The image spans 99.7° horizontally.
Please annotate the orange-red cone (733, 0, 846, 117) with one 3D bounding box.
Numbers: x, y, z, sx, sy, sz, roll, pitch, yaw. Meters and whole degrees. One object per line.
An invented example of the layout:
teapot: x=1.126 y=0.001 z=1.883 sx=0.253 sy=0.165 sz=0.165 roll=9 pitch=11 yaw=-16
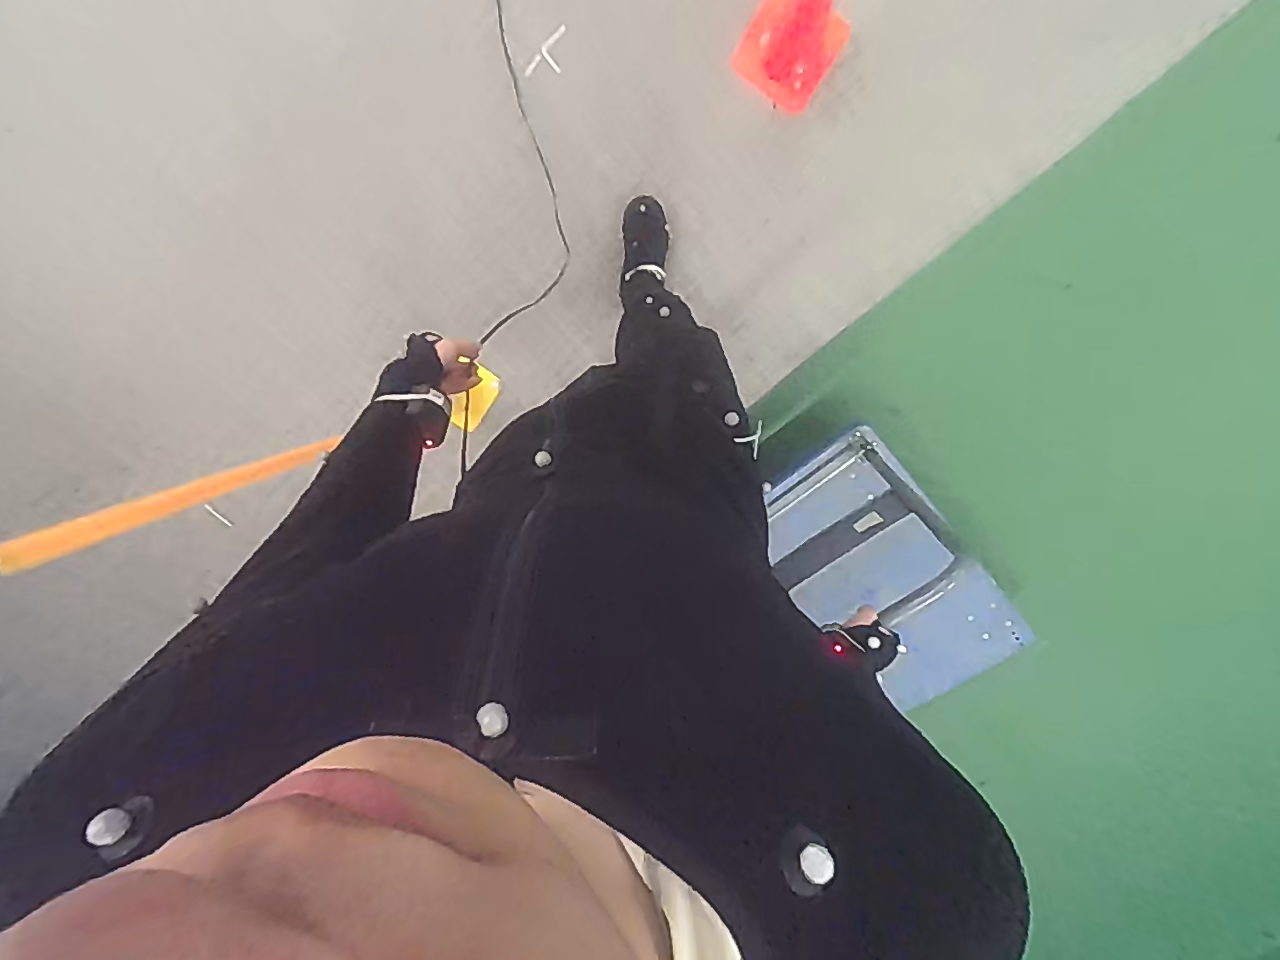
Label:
orange-red cone: x=0.328 y=-0.911 z=1.070 sx=0.198 sy=0.360 sz=0.199 roll=32 pitch=109 yaw=-9
